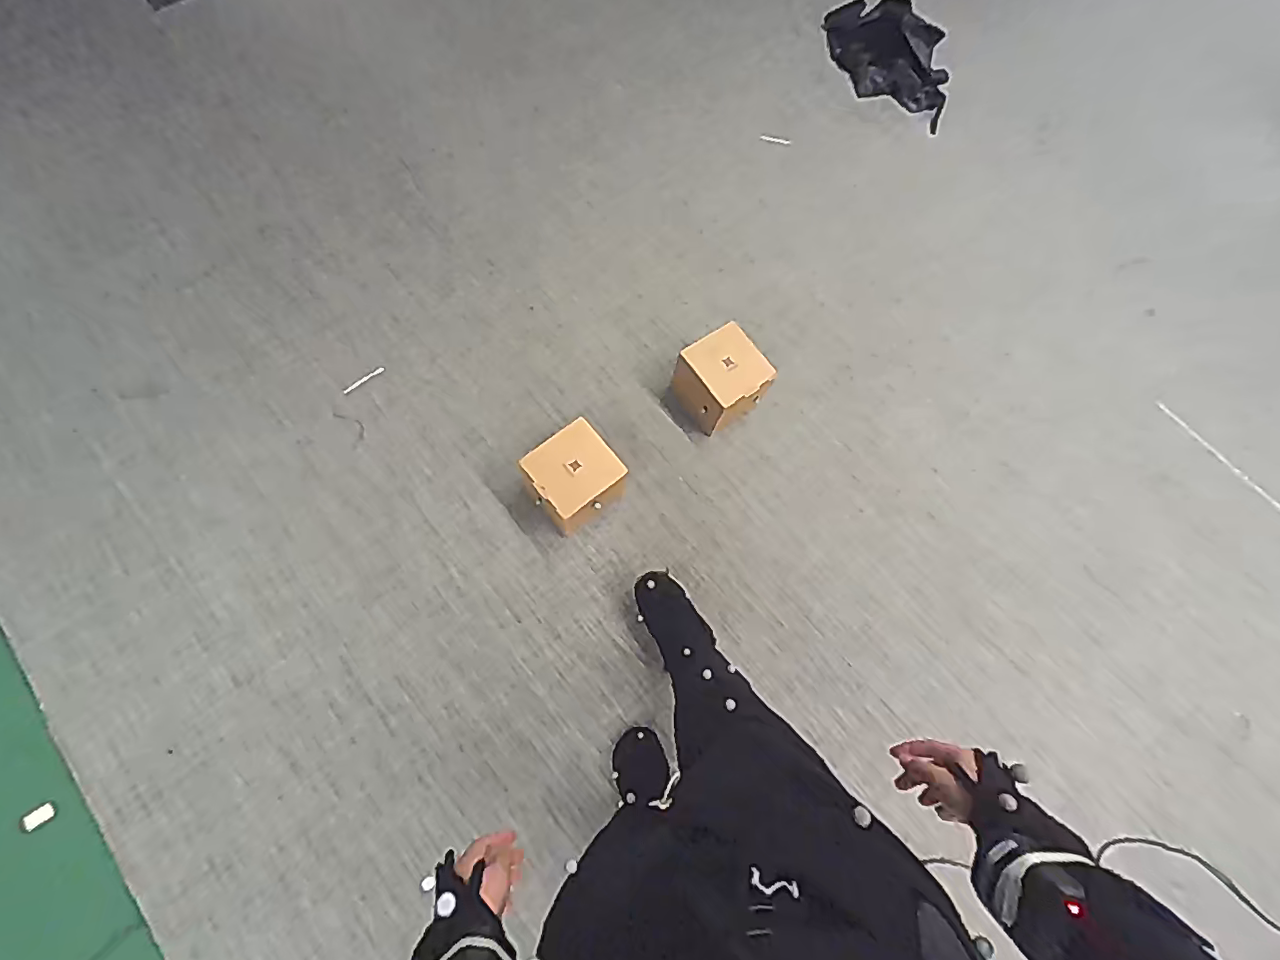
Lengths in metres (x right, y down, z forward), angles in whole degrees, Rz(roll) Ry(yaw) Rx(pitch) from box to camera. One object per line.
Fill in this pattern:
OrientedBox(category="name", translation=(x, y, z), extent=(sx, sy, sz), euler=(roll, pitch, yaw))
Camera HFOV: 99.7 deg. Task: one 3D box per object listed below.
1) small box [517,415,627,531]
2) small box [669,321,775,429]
OrientedBox(category="small box", translation=(-0.152, -0.009, 1.214), extent=(0.179, 0.176, 0.168), euler=(-38, 80, -15))
OrientedBox(category="small box", translation=(0.193, -0.245, 1.322), extent=(0.168, 0.176, 0.179), euler=(-33, 77, -16))
